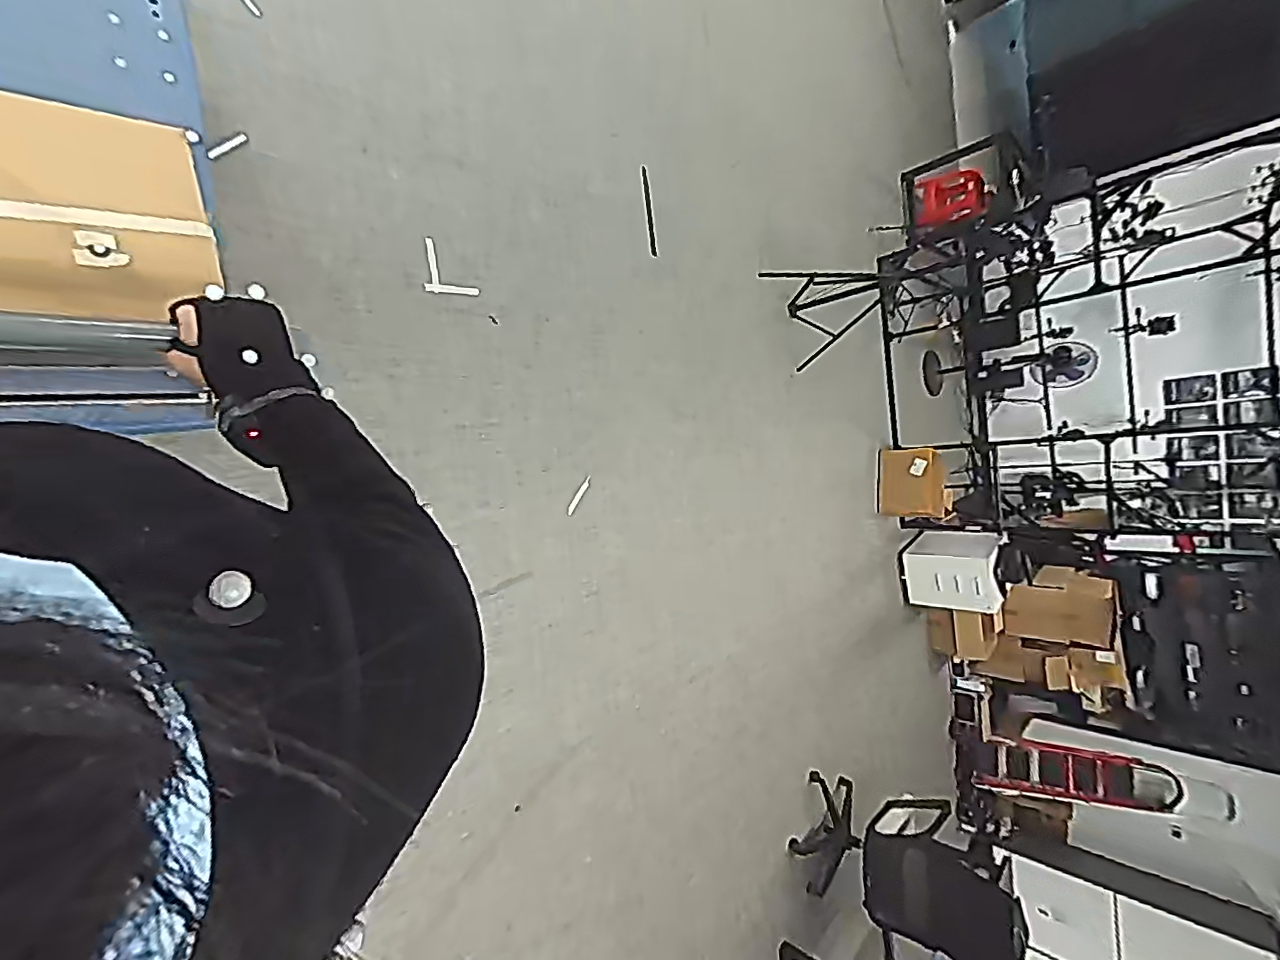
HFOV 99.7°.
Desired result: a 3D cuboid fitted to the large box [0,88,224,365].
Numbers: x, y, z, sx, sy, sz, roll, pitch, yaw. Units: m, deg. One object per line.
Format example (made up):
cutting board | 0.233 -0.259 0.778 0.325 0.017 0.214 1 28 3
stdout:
large box | -0.939 -0.359 0.822 0.408 0.320 0.320 -15 99 -46
